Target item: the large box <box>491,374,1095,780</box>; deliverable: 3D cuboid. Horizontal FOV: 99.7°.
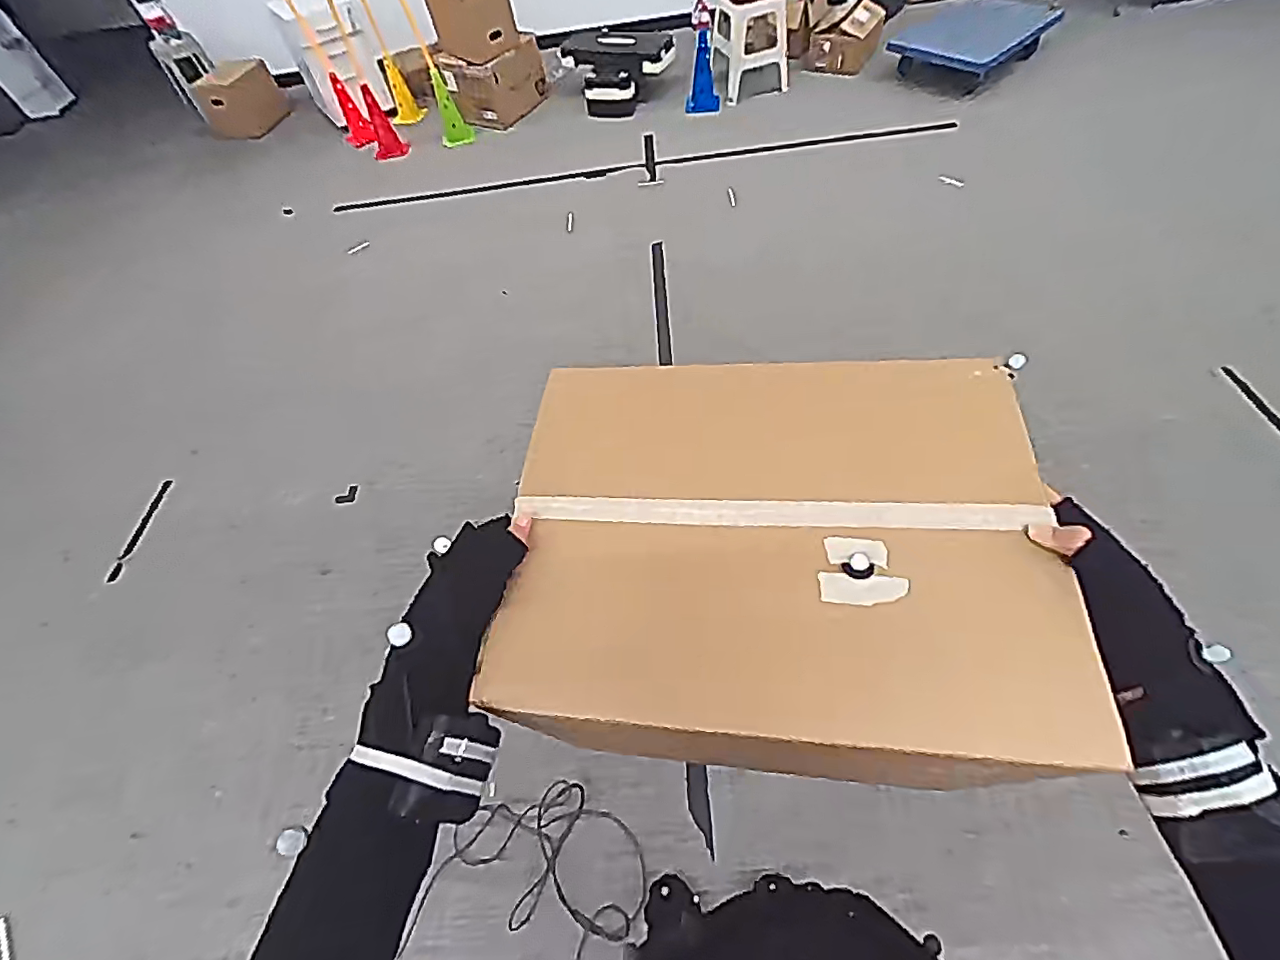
[{"bbox_3d":[0.117,0.113,0.562,0.408,0.320,0.320,1,59,10],"label":"large box"}]
